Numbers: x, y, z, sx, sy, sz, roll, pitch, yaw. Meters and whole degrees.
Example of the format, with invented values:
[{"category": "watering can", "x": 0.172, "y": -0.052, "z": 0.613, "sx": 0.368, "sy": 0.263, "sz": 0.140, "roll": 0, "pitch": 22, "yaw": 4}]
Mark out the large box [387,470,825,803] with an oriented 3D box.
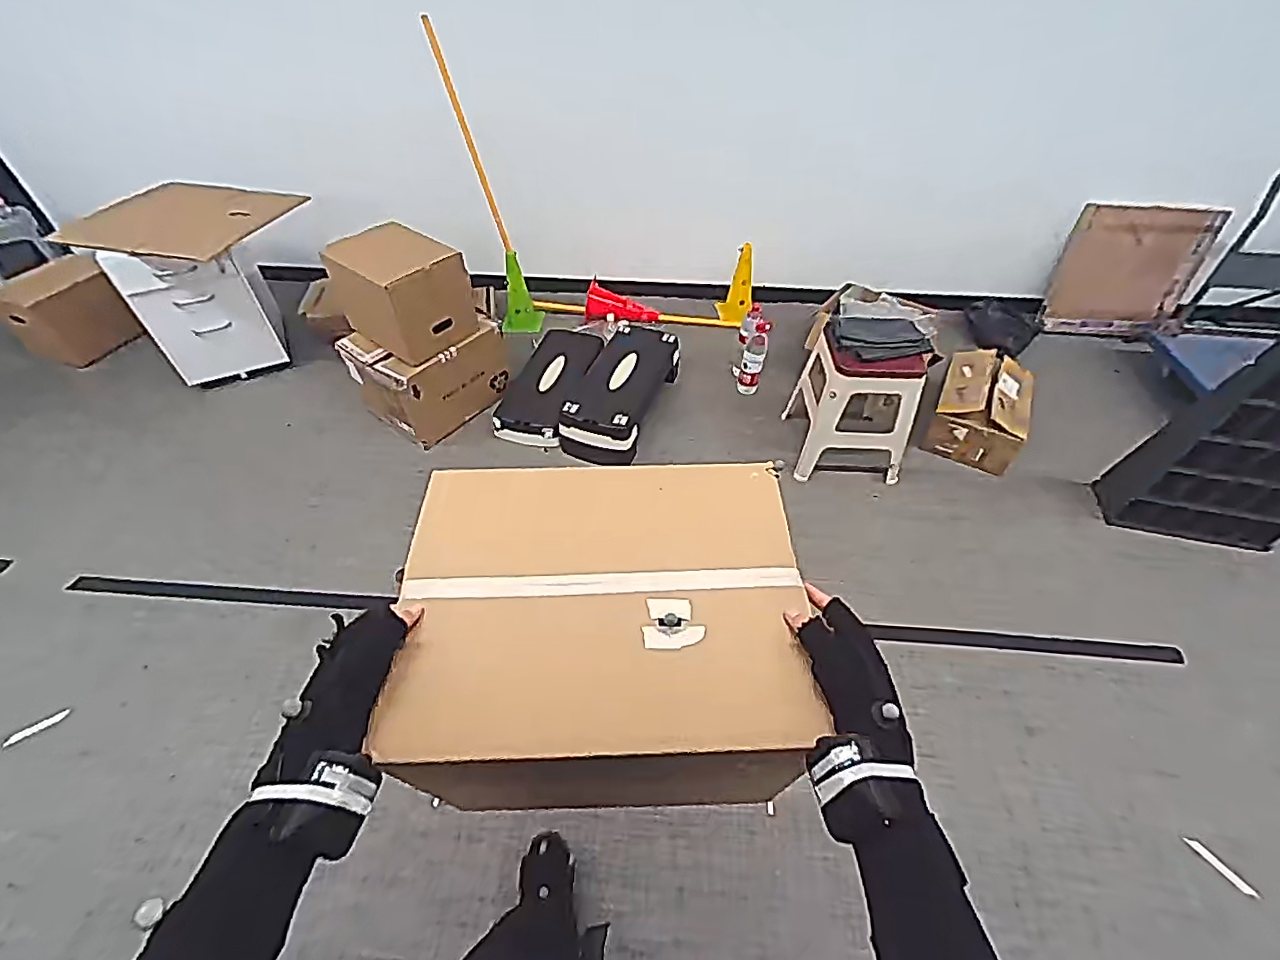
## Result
[{"category": "large box", "x": -0.037, "y": 0.205, "z": 0.689, "sx": 0.408, "sy": 0.320, "sz": 0.320, "roll": -1, "pitch": 53, "yaw": -2}]
